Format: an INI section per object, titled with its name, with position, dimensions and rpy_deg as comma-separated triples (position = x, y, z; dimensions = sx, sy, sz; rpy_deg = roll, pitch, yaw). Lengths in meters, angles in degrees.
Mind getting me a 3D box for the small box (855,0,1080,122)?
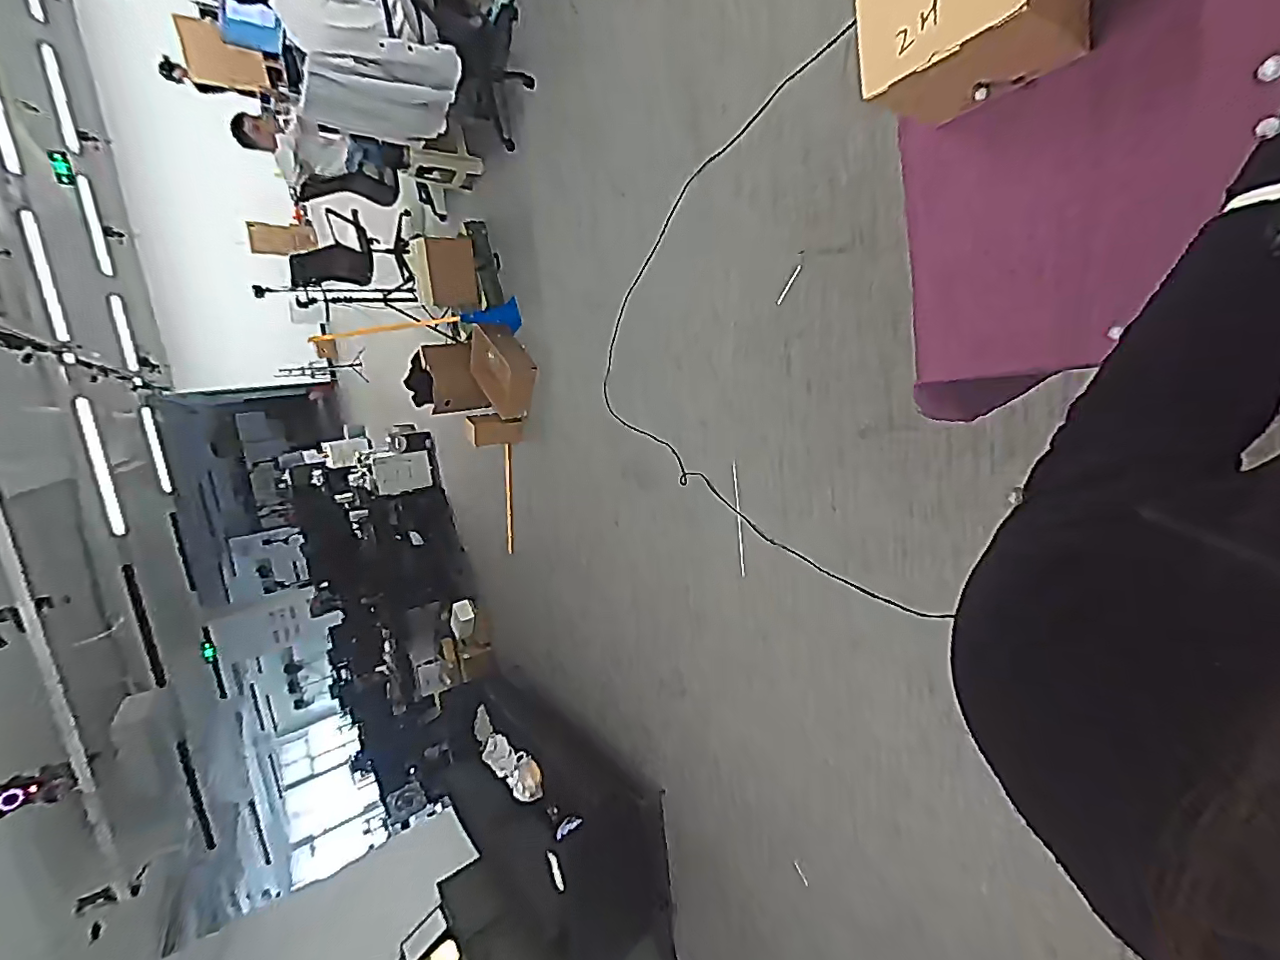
[small box]
position = 0.360, -0.536, 0.597
dimensions = 0.168, 0.176, 0.179
rpy_deg = 5, 106, 55
